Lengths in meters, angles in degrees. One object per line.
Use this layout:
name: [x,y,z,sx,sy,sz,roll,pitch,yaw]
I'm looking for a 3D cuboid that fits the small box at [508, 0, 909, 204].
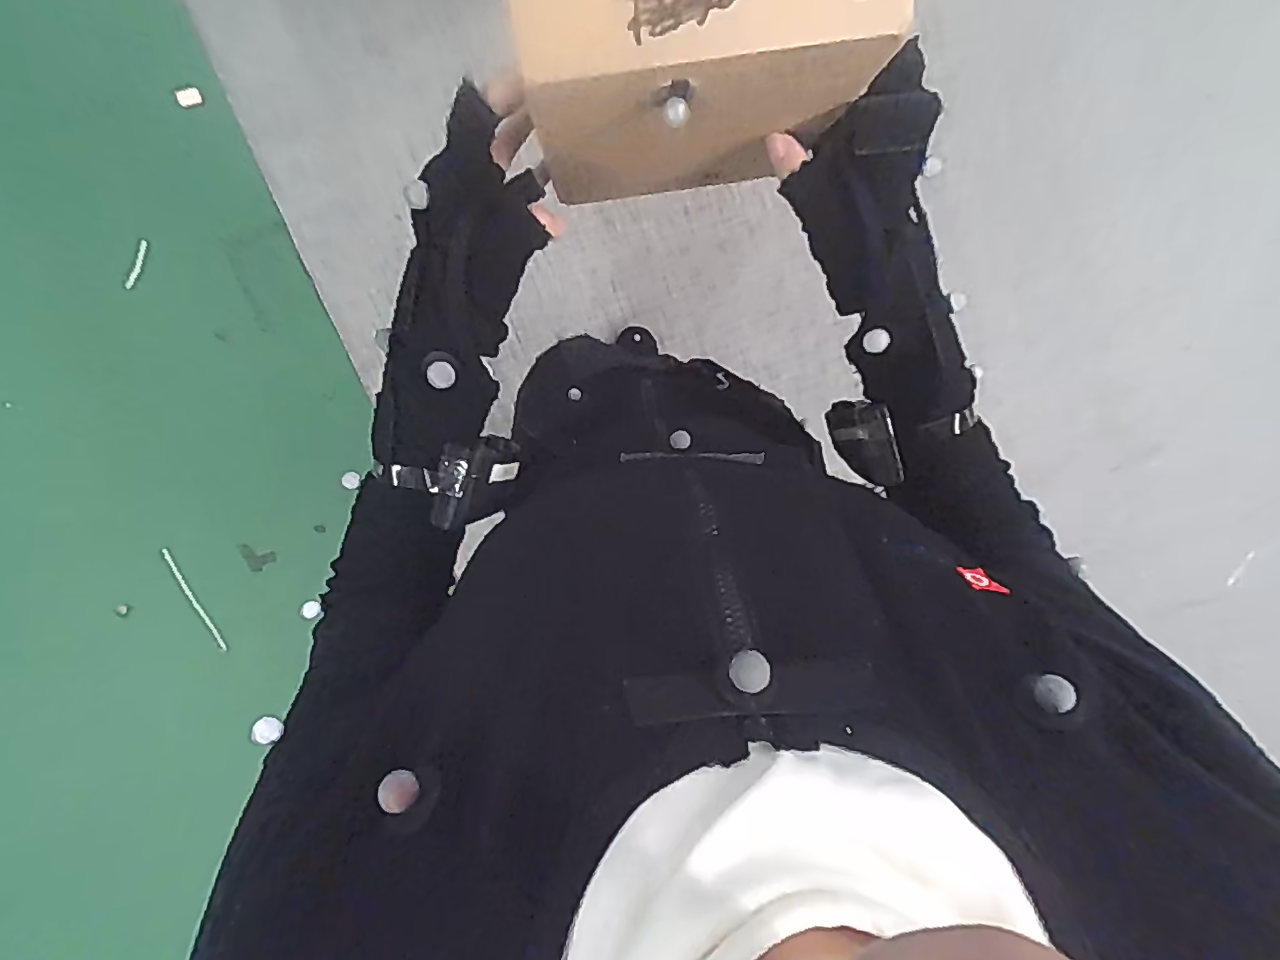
small box: [0.016,-0.274,0.286,0.168,0.176,0.179,-9,101,0]
